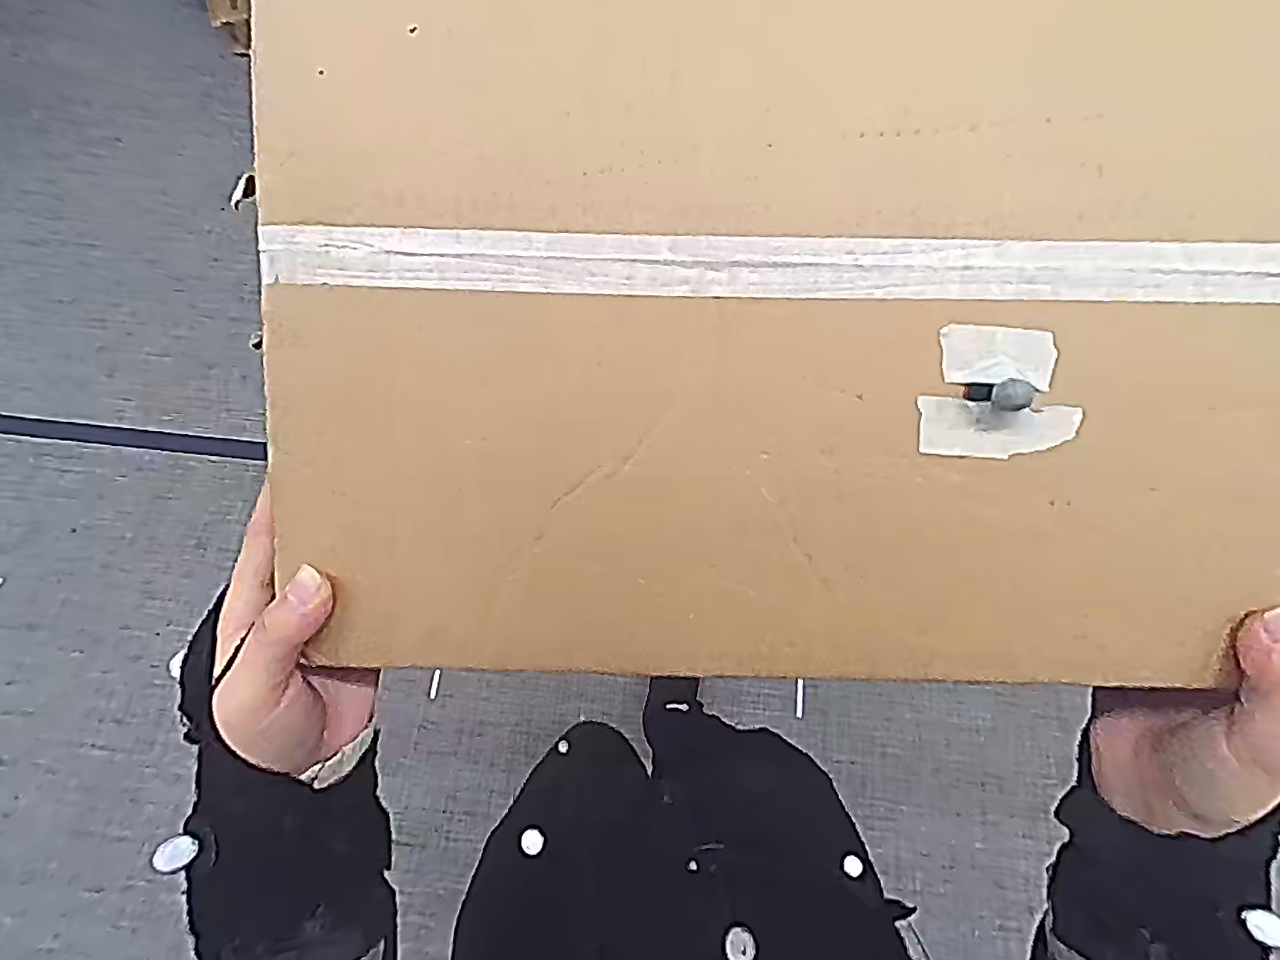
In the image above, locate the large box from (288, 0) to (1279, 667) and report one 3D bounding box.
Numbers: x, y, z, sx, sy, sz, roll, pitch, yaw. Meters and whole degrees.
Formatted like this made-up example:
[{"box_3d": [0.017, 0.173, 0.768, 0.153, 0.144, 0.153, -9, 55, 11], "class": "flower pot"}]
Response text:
[{"box_3d": [0.062, -0.088, 0.360, 0.408, 0.320, 0.320, 1, 95, -1], "class": "large box"}]
